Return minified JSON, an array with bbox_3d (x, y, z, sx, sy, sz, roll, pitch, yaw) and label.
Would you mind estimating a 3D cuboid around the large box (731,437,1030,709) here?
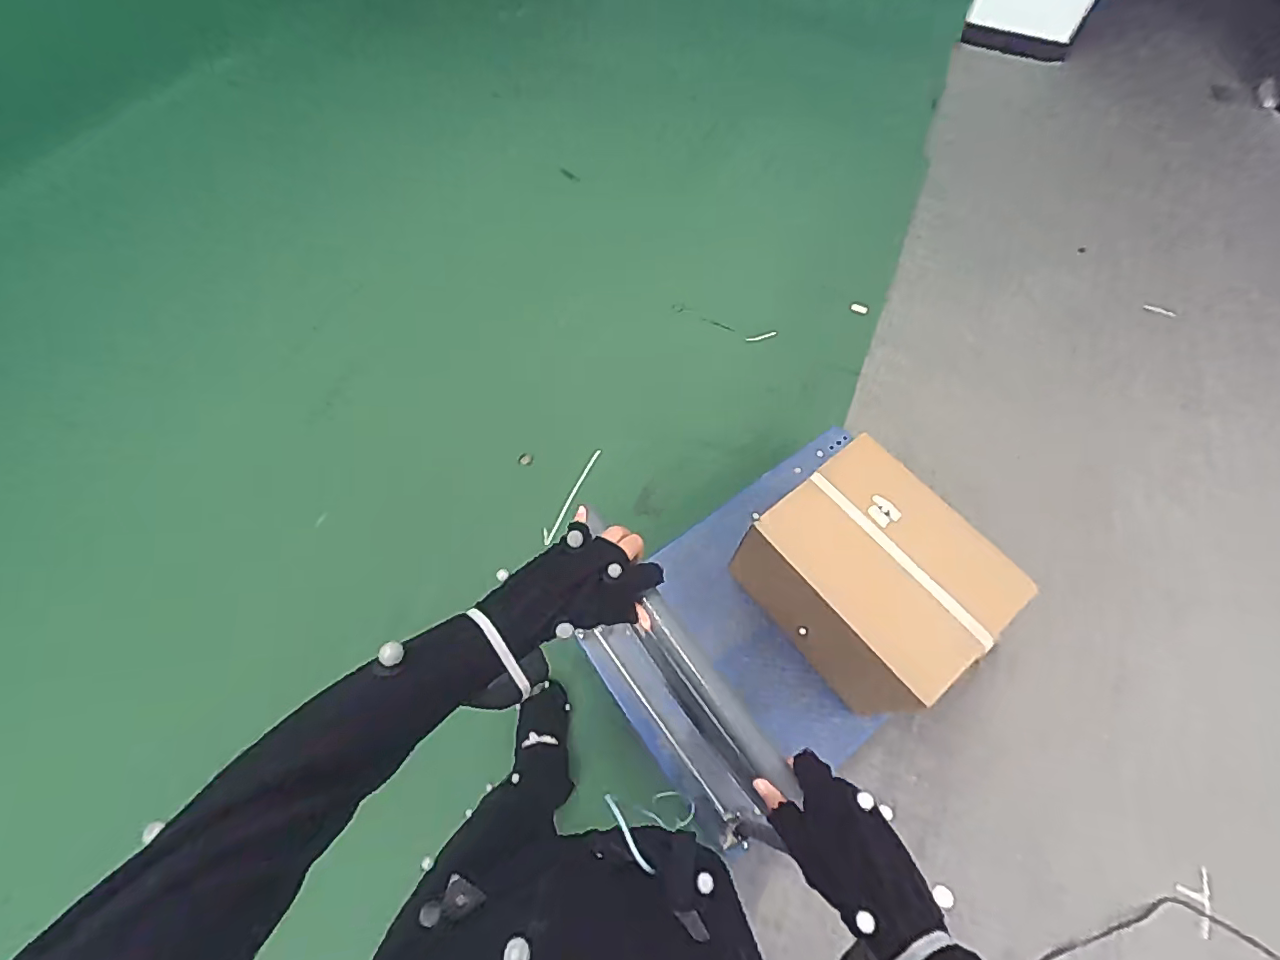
[{"bbox_3d":[0.449,0.199,1.109,0.320,0.320,0.408,-35,69,-17],"label":"large box"}]
